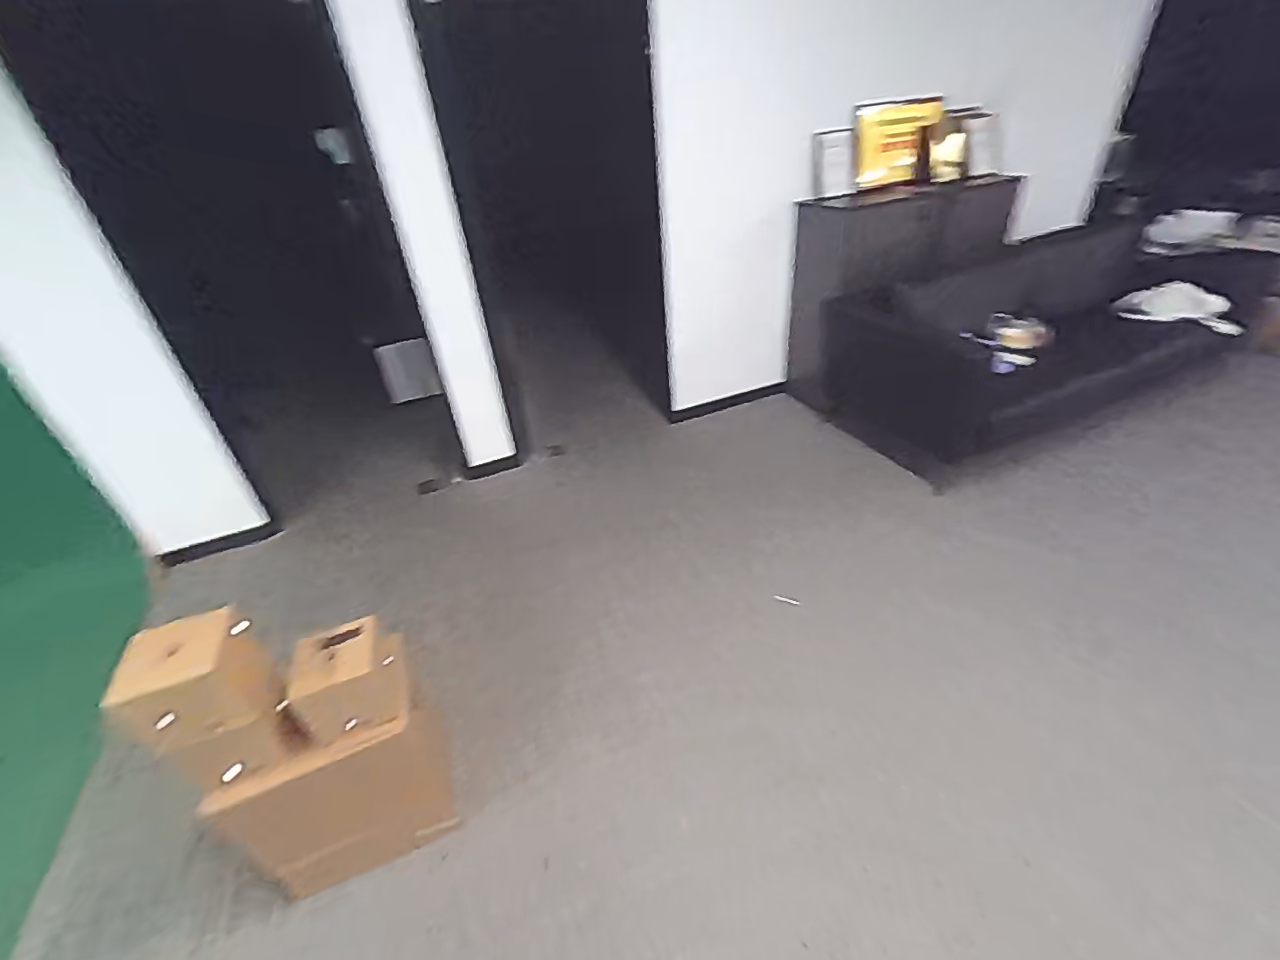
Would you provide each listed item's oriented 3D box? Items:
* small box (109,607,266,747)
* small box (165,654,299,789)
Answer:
[{"bbox_3d":[-0.866,0.390,1.059,0.168,0.176,0.179,-17,37,-17],"label":"small box"},{"bbox_3d":[-0.858,0.516,1.161,0.168,0.176,0.179,-16,38,-17],"label":"small box"}]
